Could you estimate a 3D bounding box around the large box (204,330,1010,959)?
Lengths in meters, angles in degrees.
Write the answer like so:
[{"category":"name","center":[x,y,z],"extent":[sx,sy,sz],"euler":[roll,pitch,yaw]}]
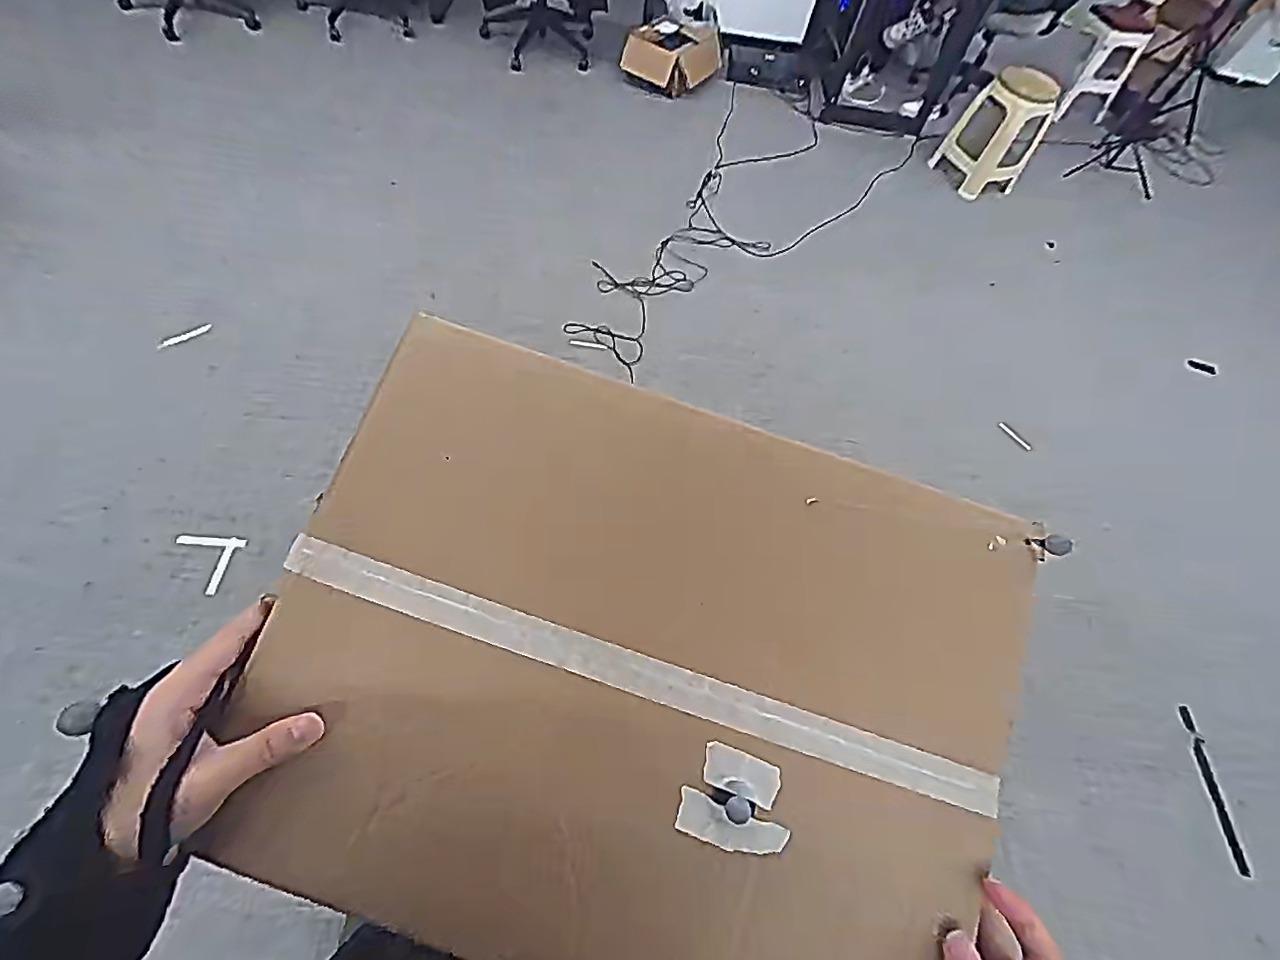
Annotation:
[{"category":"large box","center":[-0.007,0.133,0.459],"extent":[0.408,0.320,0.320],"euler":[19,79,1]}]
